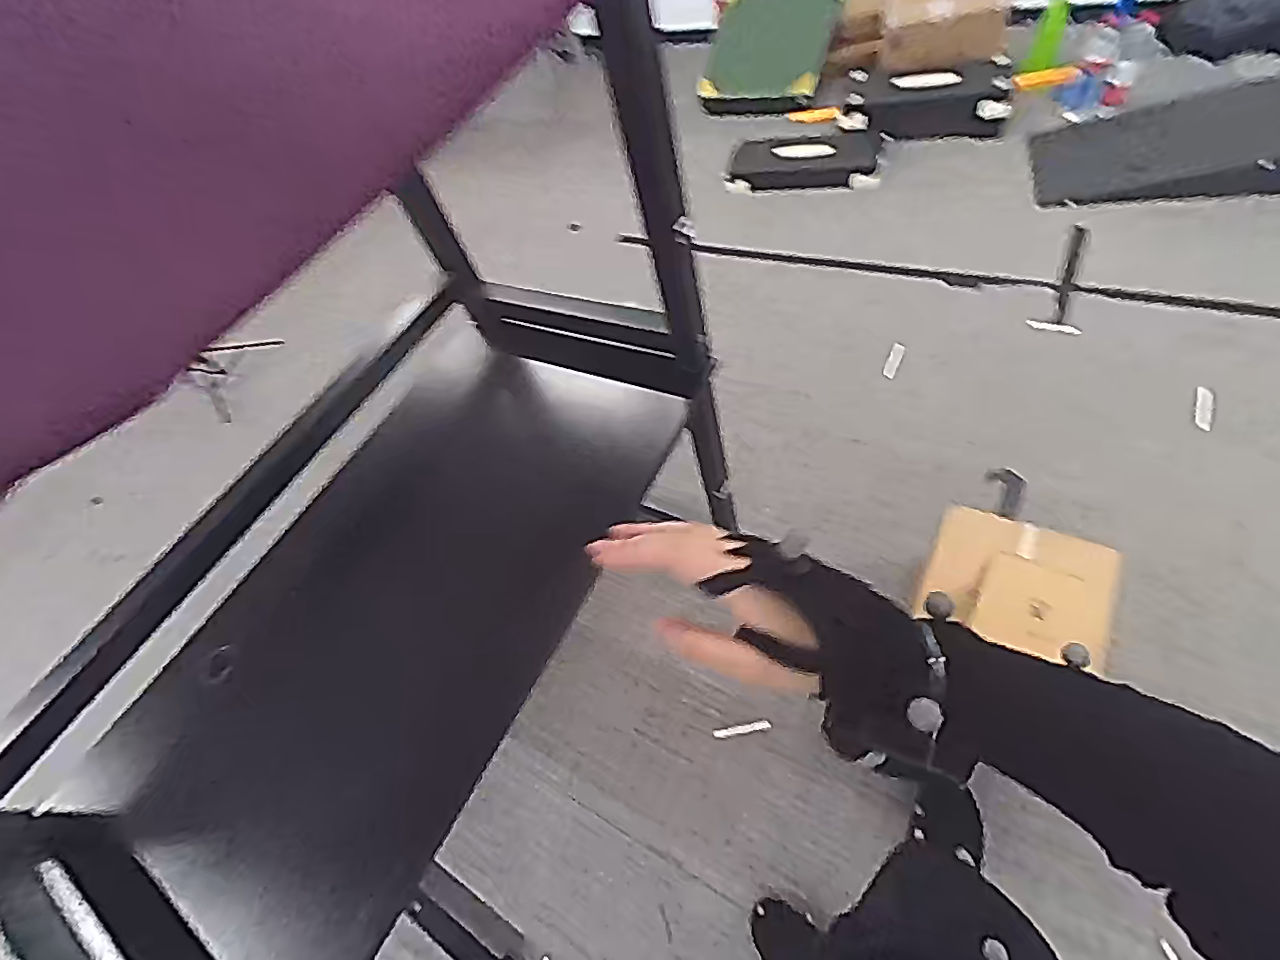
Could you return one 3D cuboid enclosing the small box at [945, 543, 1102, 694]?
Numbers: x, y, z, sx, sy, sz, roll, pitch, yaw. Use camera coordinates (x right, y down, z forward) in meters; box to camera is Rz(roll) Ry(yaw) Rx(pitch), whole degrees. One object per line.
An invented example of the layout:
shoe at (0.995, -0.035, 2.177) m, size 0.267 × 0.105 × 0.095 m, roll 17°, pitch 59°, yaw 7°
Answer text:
small box at (0.666, 0.247, 0.957) m, size 0.168 × 0.176 × 0.179 m, roll 23°, pitch 67°, yaw 27°
